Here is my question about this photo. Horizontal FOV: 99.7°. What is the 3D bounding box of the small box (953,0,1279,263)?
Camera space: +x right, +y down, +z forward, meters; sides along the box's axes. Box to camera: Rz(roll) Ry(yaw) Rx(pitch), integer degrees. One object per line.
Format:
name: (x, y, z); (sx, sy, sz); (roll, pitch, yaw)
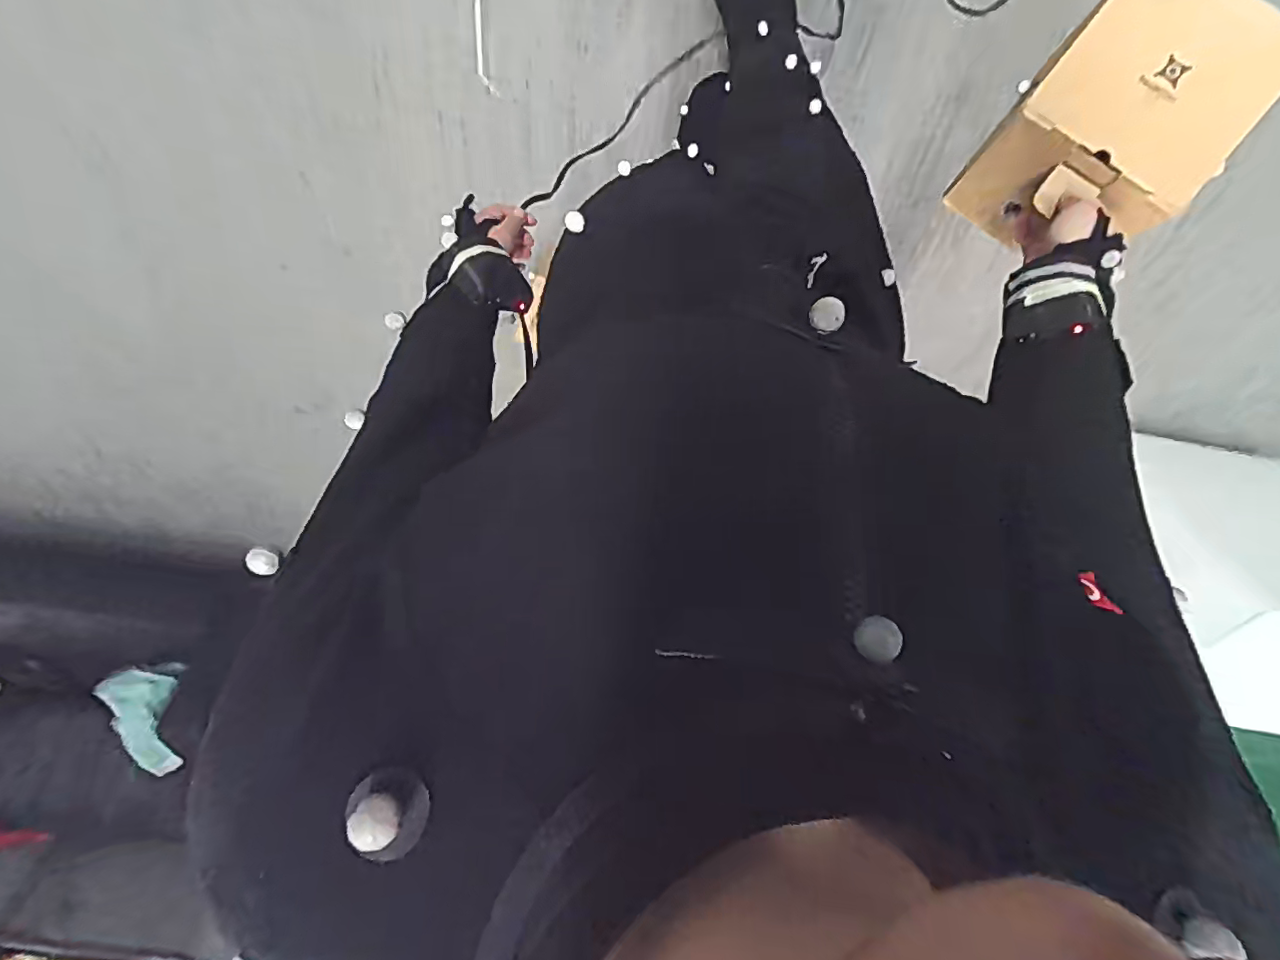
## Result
small box: (0.462, -0.359, 0.543); (0.168, 0.176, 0.179); (37, 95, 4)
